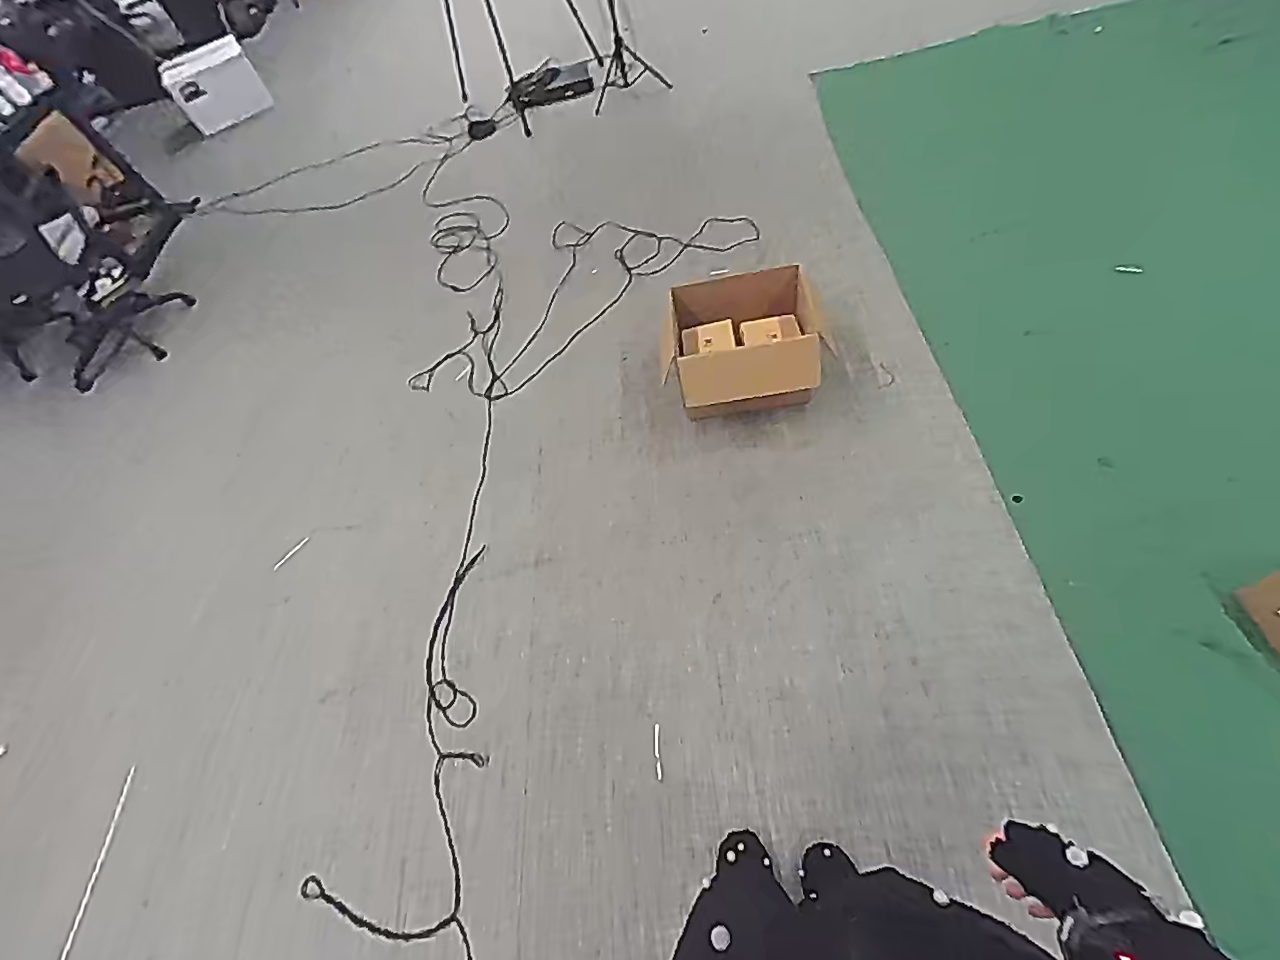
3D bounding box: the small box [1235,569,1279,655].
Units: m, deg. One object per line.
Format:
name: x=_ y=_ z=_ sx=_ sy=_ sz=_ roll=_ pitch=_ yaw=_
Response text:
small box: x=1.446 y=0.276 z=1.134 sx=0.168 sy=0.176 sz=0.179 roll=-11 pitch=56 yaw=6
